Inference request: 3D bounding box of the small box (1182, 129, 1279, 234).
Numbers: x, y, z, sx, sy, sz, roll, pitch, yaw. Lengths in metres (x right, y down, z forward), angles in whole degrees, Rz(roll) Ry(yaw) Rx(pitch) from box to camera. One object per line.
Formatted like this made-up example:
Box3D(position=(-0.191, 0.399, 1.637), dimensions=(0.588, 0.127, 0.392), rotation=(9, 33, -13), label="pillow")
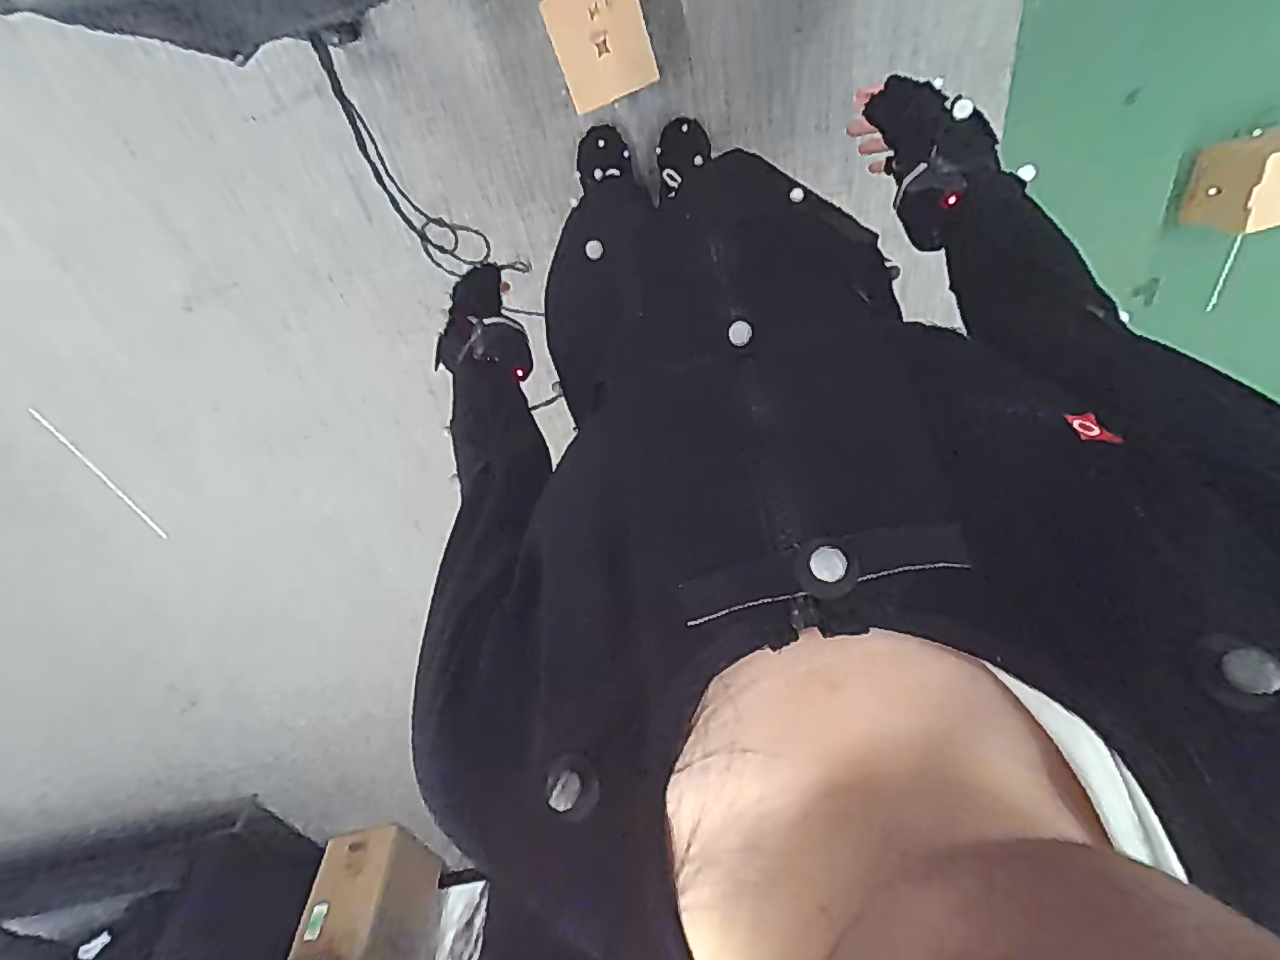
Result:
Box3D(position=(1.412, -0.681, 1.230), dimensions=(0.179, 0.176, 0.168), rotation=(-13, 126, 6), label="small box")
